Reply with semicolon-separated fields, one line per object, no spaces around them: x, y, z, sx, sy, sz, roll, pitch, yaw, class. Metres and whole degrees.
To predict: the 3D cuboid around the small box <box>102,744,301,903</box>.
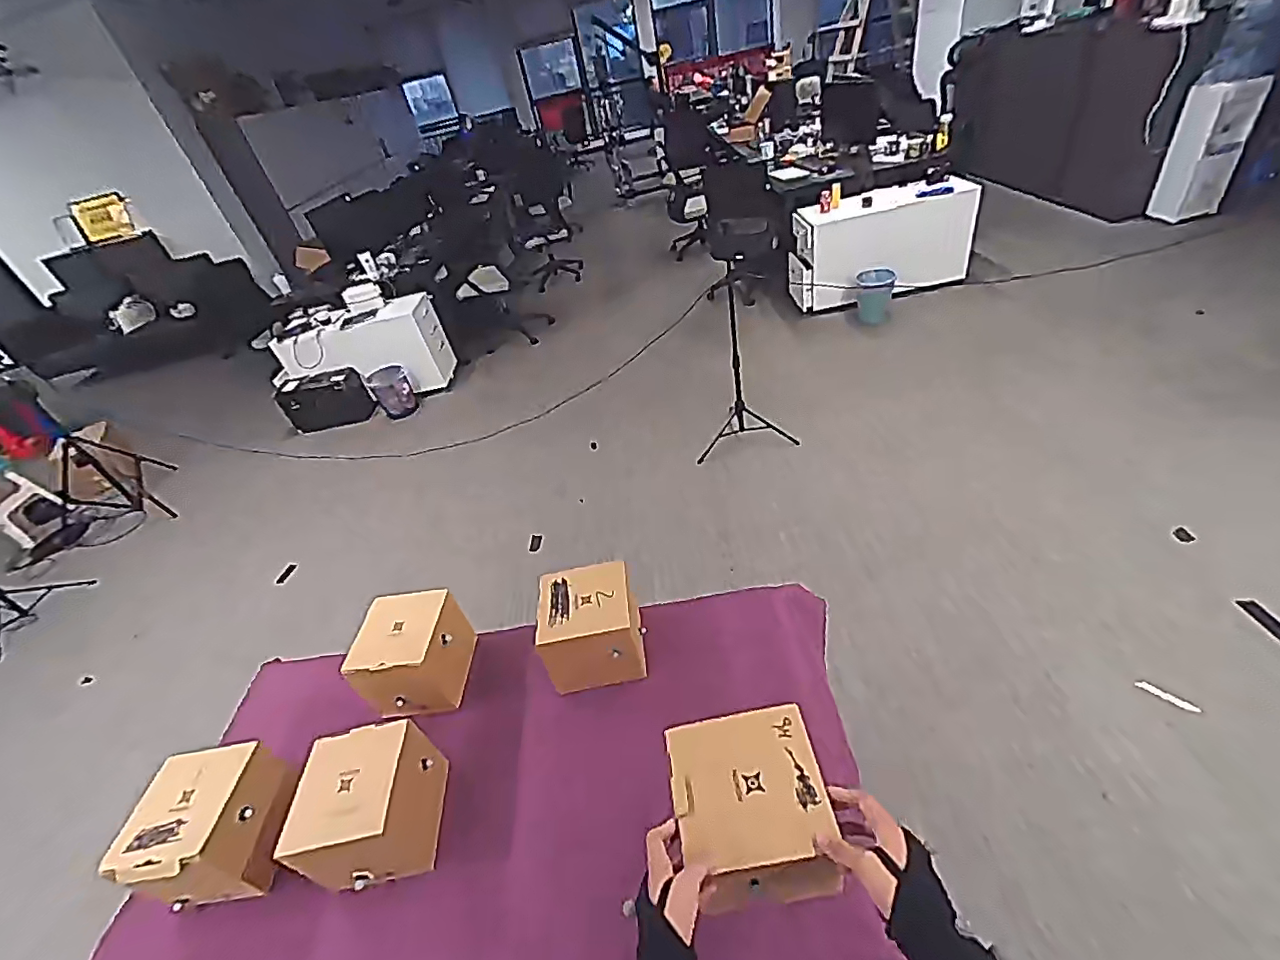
-0.705;0.578;0.905;0.168;0.176;0.179;-11;37;3;small box

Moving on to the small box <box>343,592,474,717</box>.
-0.457;0.355;1.103;0.168;0.176;0.179;-8;39;7;small box

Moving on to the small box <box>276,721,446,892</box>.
-0.436;0.532;0.883;0.168;0.176;0.179;-14;38;2;small box

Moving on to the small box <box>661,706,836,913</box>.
0.135;0.416;0.680;0.179;0.176;0.168;-13;40;5;small box
